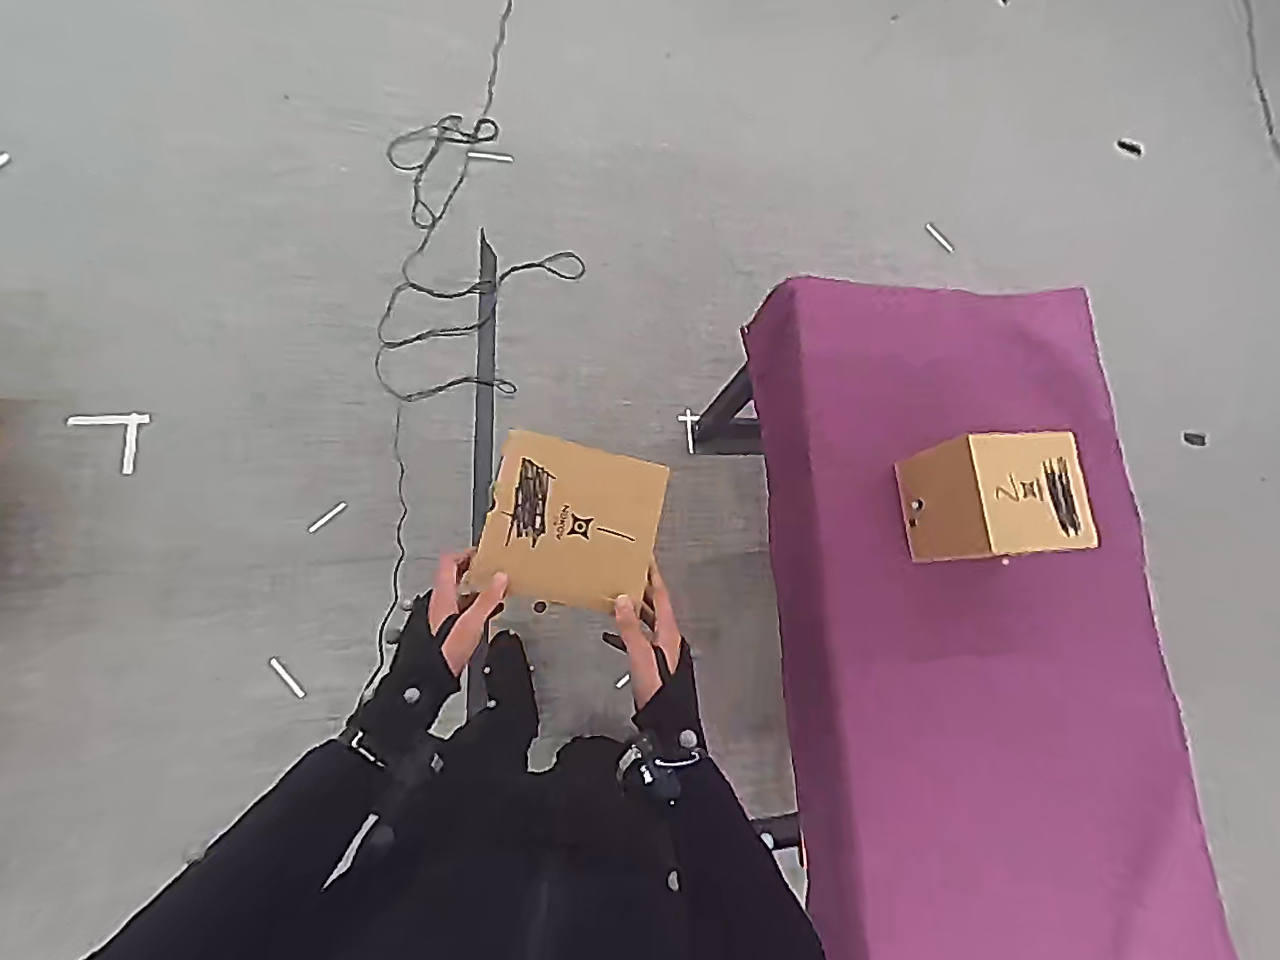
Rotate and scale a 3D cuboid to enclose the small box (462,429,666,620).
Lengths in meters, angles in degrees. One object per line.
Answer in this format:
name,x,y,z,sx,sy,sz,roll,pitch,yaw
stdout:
small box,-0.084,0.059,0.625,0.179,0.176,0.168,14,78,-6
